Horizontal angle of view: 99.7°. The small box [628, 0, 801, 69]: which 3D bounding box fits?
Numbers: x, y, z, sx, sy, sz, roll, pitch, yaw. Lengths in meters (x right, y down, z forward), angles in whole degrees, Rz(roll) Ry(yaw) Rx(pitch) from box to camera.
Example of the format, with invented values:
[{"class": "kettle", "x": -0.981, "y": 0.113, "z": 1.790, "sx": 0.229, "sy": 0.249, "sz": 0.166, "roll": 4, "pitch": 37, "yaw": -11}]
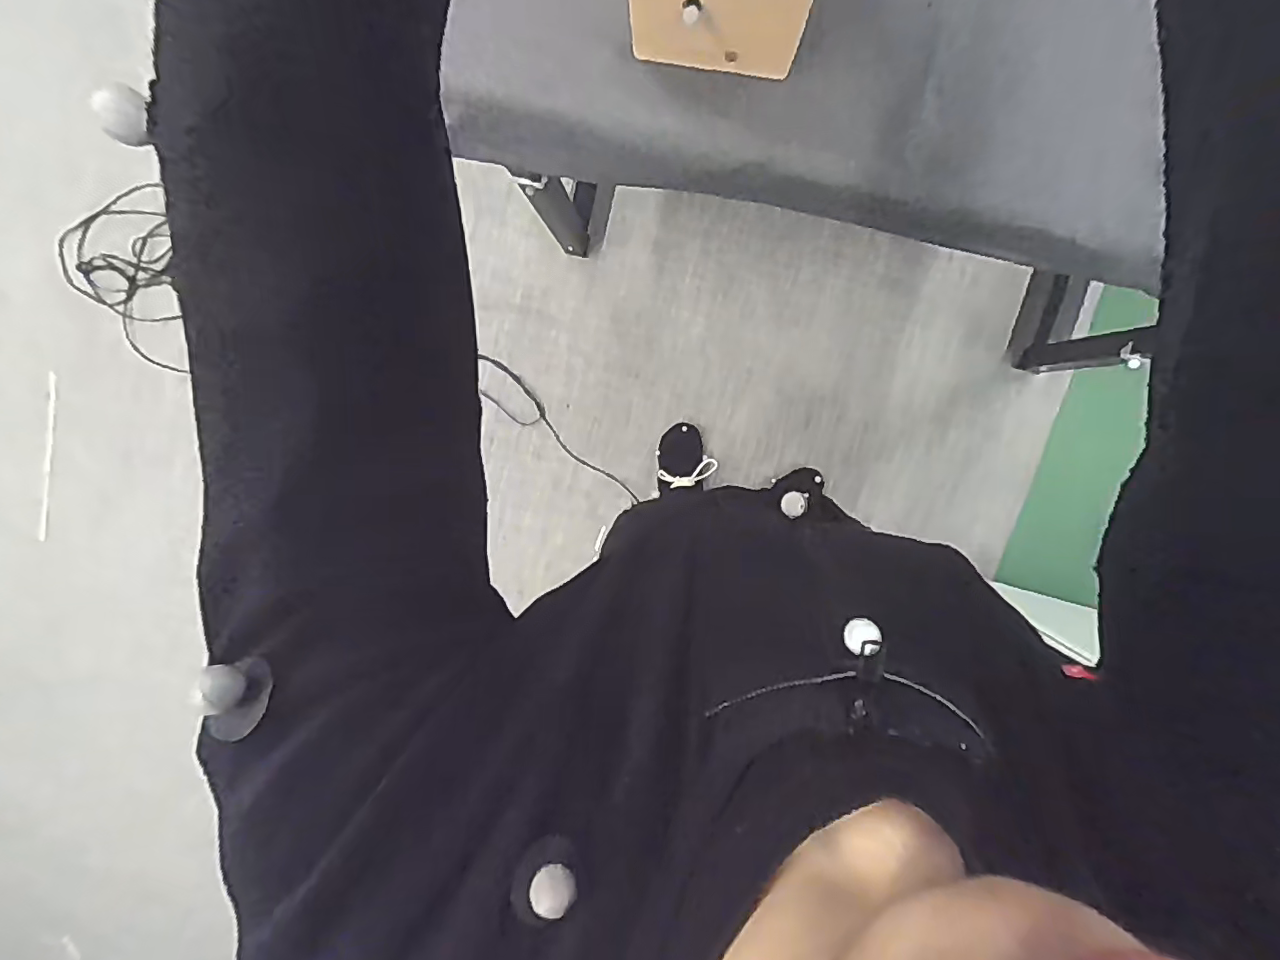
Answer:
[{"class": "small box", "x": 0.079, "y": -0.520, "z": 0.490, "sx": 0.168, "sy": 0.176, "sz": 0.179, "roll": 9, "pitch": 97, "yaw": 1}]
